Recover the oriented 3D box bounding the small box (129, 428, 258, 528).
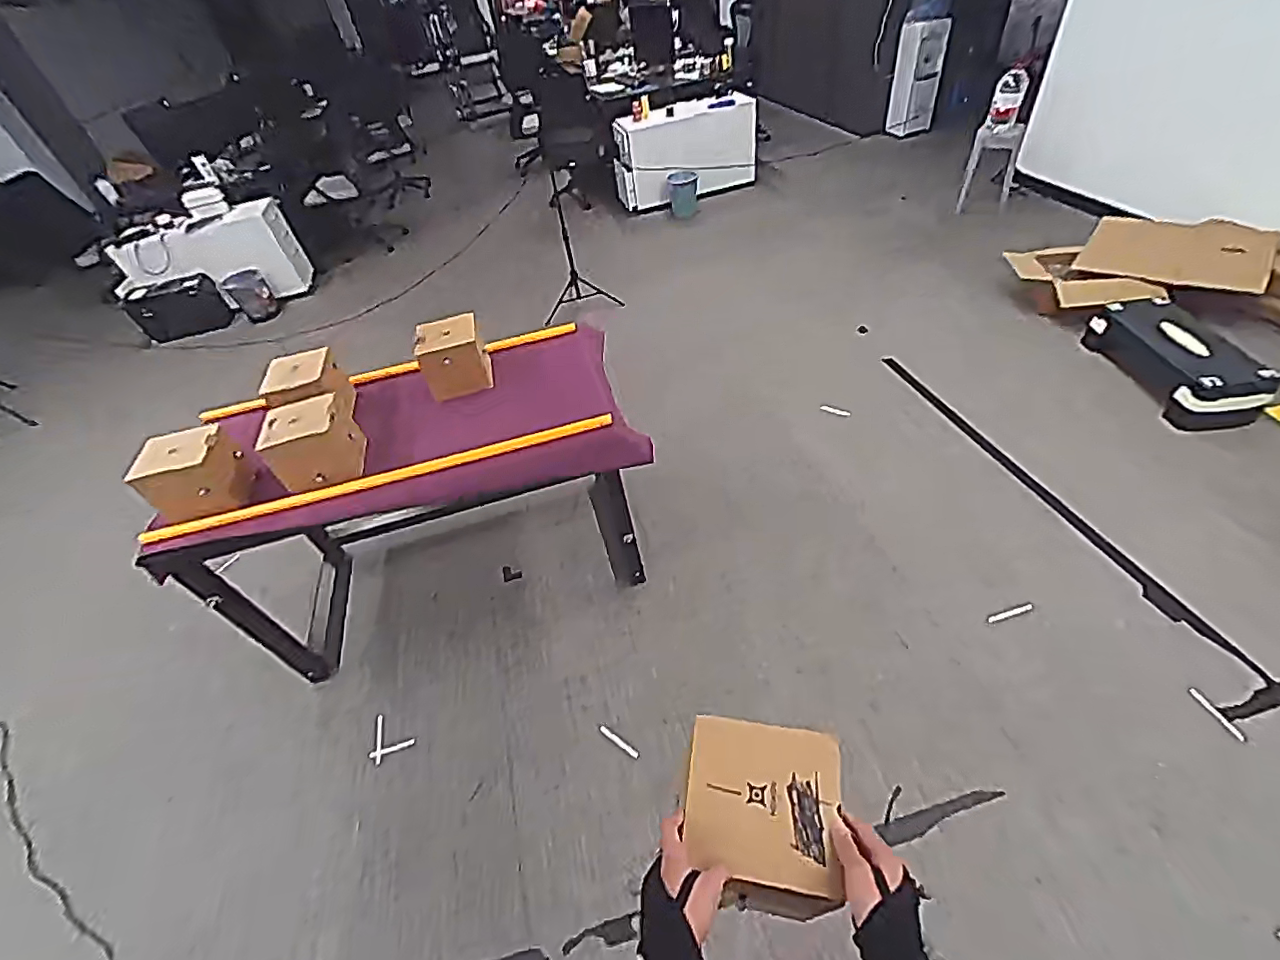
[{"bbox_3d":[-1.125,-0.004,1.383,0.179,0.176,0.168,-15,45,-7],"label":"small box"}]

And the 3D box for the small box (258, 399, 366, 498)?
[{"bbox_3d":[-0.841,-0.080,1.408,0.179,0.176,0.168,-16,45,-6],"label":"small box"}]

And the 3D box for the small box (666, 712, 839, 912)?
[{"bbox_3d":[0.133,0.418,0.678,0.179,0.176,0.168,8,46,7],"label":"small box"}]

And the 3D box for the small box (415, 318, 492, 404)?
[{"bbox_3d":[-0.553,-0.356,1.626,0.179,0.176,0.168,-16,47,-4],"label":"small box"}]

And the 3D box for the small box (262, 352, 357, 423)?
[{"bbox_3d":[-0.959,-0.244,1.590,0.168,0.176,0.179,-16,47,-4],"label":"small box"}]
